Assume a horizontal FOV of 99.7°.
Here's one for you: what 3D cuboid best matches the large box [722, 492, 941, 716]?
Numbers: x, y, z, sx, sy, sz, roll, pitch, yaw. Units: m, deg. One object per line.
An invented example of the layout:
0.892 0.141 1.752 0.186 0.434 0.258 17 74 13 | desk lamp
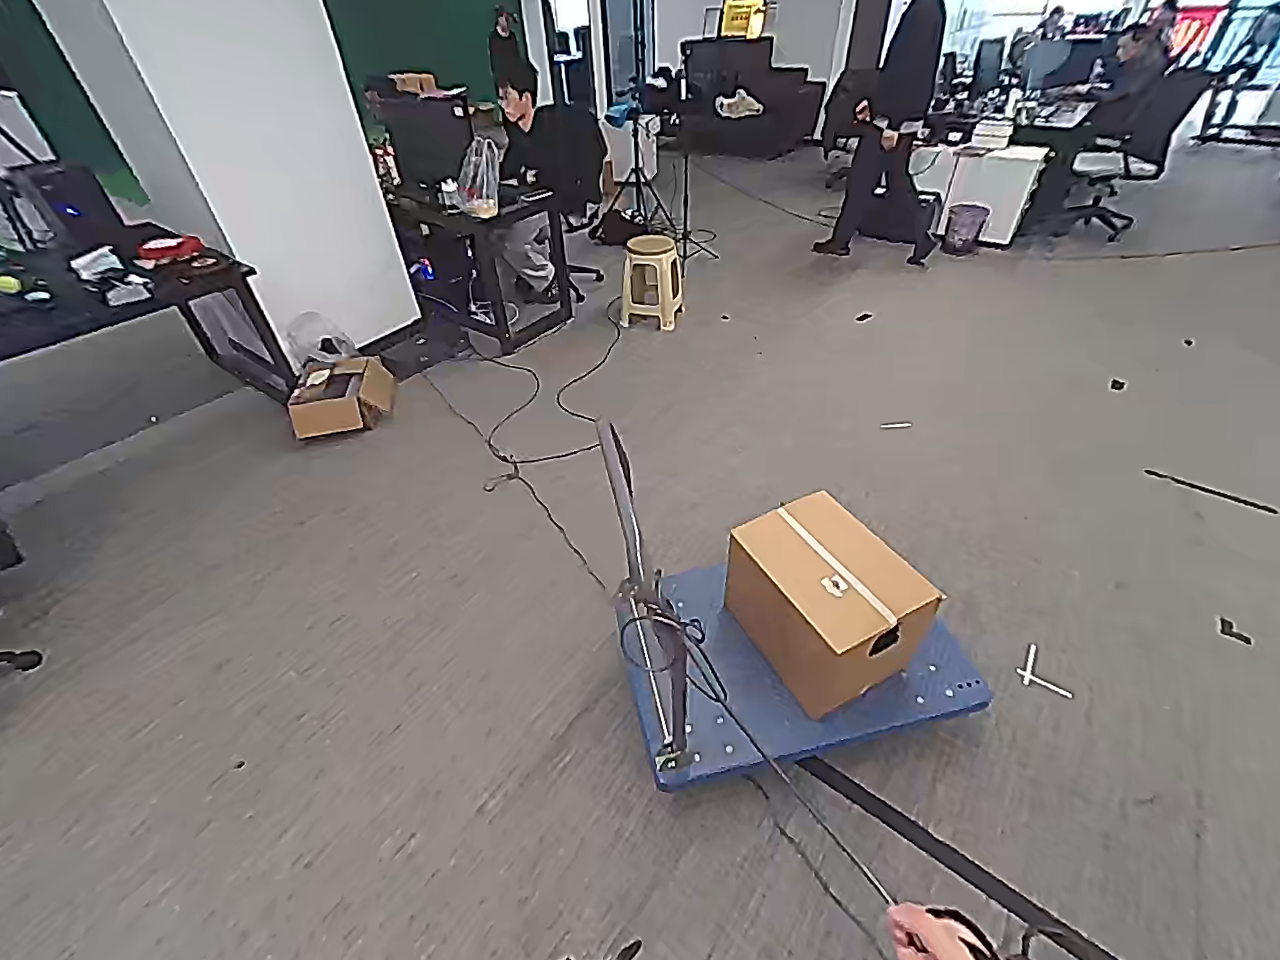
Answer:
0.456 0.305 1.393 0.320 0.320 0.408 -22 46 -18 | large box
